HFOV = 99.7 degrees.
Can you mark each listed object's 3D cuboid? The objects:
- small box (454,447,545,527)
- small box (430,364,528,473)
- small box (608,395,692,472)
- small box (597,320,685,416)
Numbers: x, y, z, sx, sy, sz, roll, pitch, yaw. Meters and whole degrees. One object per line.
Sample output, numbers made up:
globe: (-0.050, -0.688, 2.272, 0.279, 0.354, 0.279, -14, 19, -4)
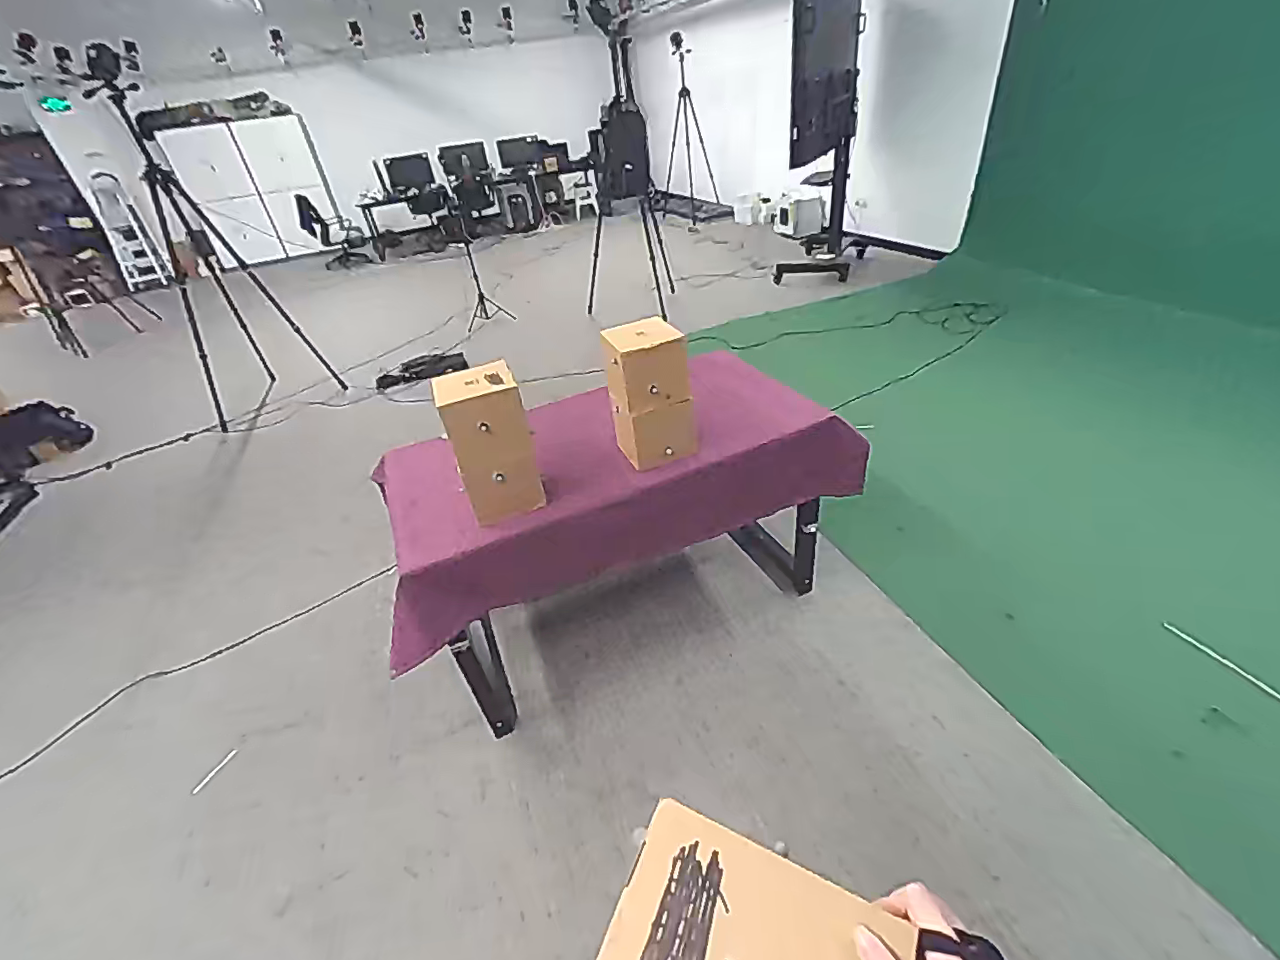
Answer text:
small box: (-0.351, -0.007, 1.340, 0.179, 0.176, 0.168, -17, 37, -14)
small box: (-0.366, -0.143, 1.248, 0.179, 0.176, 0.168, -19, 37, -14)
small box: (0.029, -0.147, 1.456, 0.179, 0.176, 0.168, -18, 36, -15)
small box: (0.004, -0.284, 1.370, 0.168, 0.176, 0.179, -19, 37, -13)
